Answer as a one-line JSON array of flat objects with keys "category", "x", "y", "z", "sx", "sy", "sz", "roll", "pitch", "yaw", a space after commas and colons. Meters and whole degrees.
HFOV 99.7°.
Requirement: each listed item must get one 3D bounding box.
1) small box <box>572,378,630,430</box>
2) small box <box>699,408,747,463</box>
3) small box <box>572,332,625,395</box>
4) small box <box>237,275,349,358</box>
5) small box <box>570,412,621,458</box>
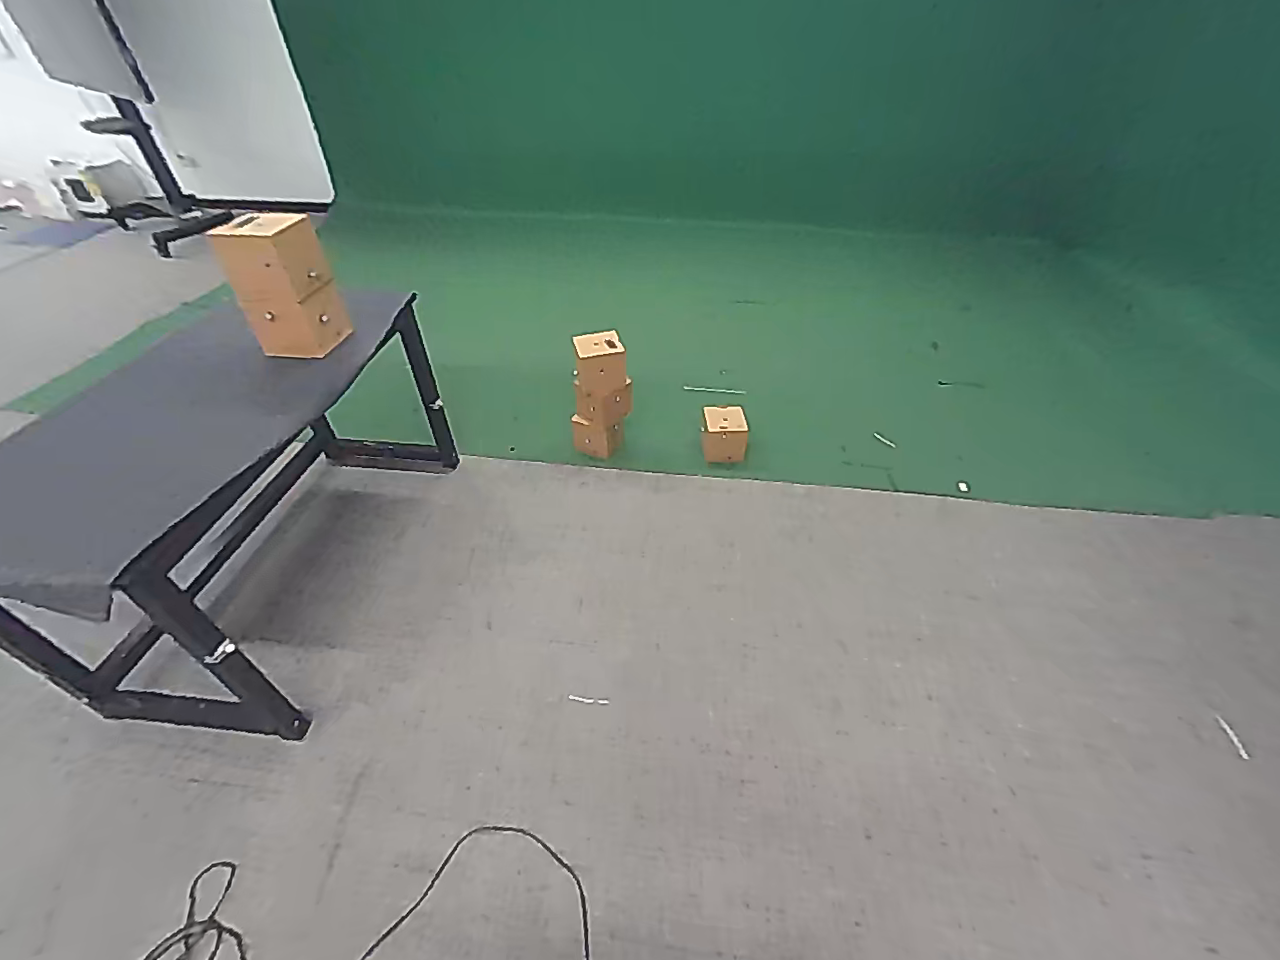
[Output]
[{"category": "small box", "x": -0.155, "y": -0.331, "z": 2.216, "sx": 0.168, "sy": 0.176, "sz": 0.179, "roll": 34, "pitch": 52, "yaw": 30}, {"category": "small box", "x": 0.349, "y": -0.192, "z": 2.305, "sx": 0.168, "sy": 0.176, "sz": 0.179, "roll": -1, "pitch": 42, "yaw": -2}, {"category": "small box", "x": -0.163, "y": -0.453, "z": 2.105, "sx": 0.179, "sy": 0.176, "sz": 0.168, "roll": -11, "pitch": 45, "yaw": -11}, {"category": "small box", "x": -0.955, "y": -0.453, "z": 1.509, "sx": 0.179, "sy": 0.176, "sz": 0.168, "roll": 4, "pitch": 43, "yaw": 6}, {"category": "small box", "x": -0.185, "y": -0.218, "z": 2.333, "sx": 0.168, "sy": 0.176, "sz": 0.179, "roll": 17, "pitch": 45, "yaw": 17}]
